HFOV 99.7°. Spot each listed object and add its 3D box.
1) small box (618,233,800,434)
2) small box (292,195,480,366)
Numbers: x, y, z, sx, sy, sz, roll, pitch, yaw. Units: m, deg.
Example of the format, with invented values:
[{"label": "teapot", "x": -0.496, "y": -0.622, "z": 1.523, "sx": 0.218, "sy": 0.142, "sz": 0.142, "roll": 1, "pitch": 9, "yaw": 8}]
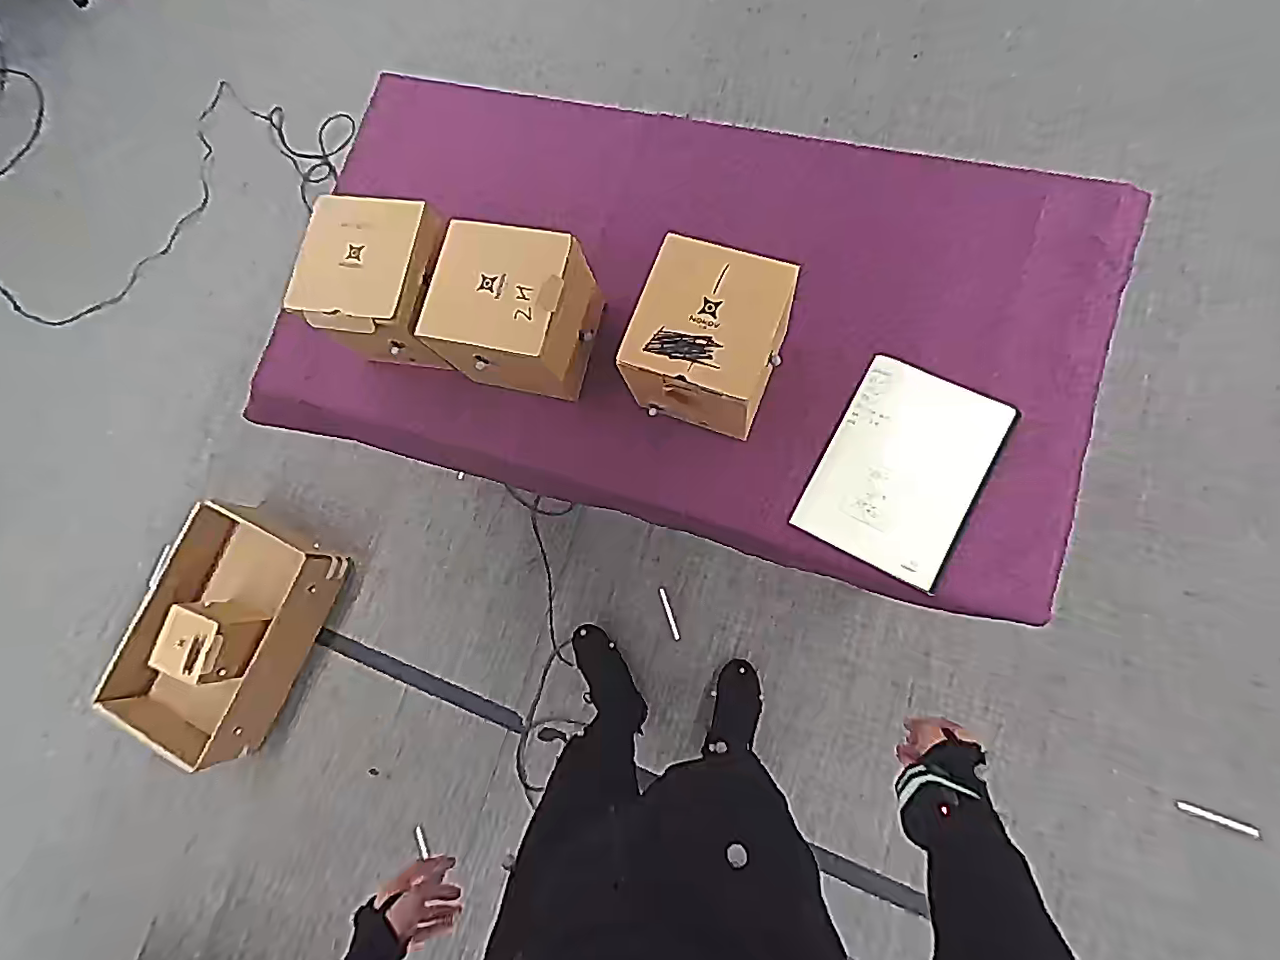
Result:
[{"label": "small box", "x": 0.092, "y": -0.177, "z": 0.699, "sx": 0.168, "sy": 0.176, "sz": 0.179, "roll": 20, "pitch": 83, "yaw": 12}, {"label": "small box", "x": -0.359, "y": -0.283, "z": 0.797, "sx": 0.168, "sy": 0.176, "sz": 0.179, "roll": 9, "pitch": 81, "yaw": 10}]
